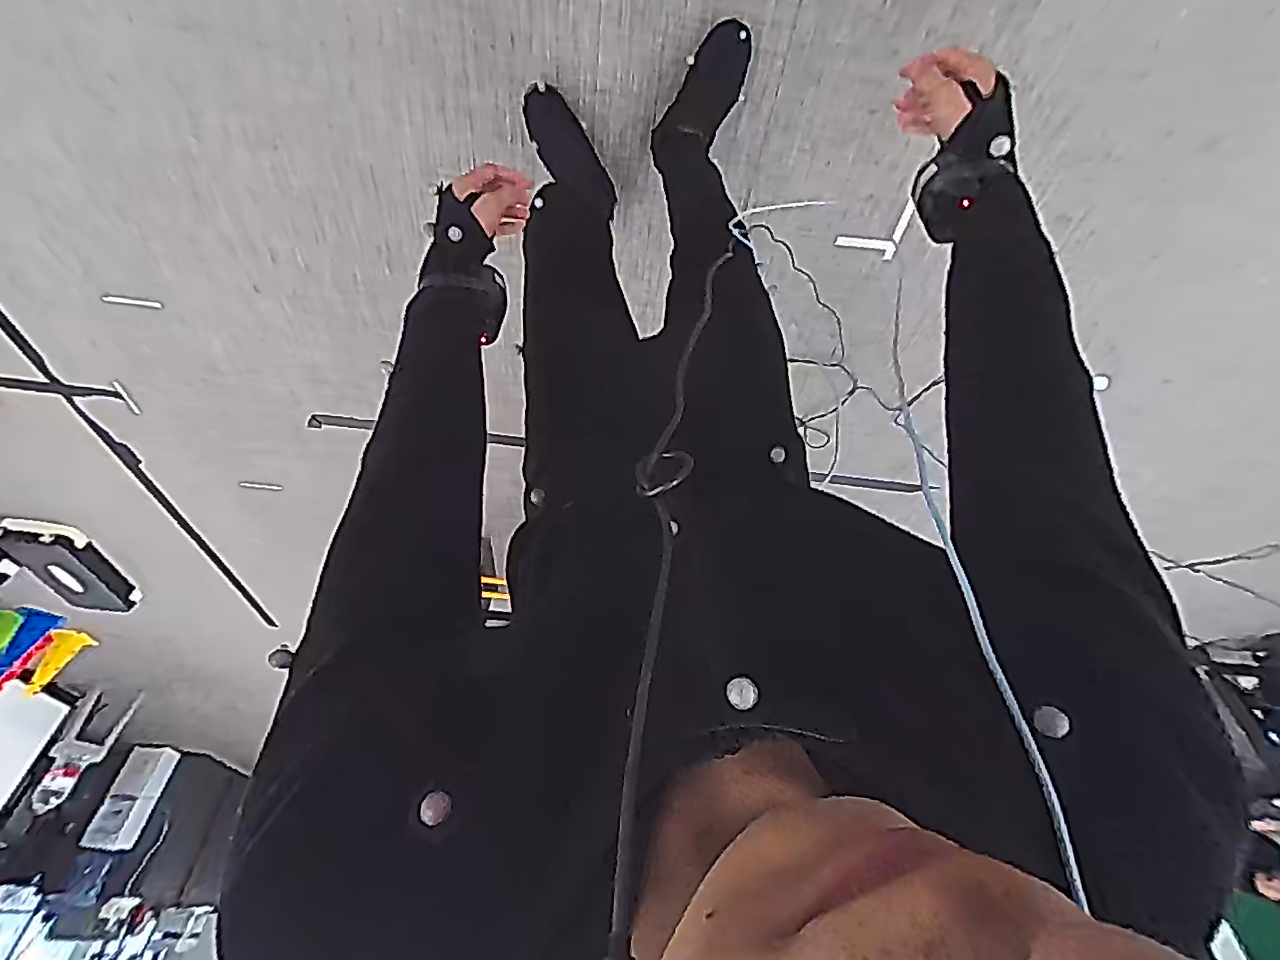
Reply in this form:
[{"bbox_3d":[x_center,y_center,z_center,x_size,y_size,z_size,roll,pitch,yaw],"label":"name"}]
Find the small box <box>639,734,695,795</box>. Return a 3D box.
[{"bbox_3d":[0.098,1.065,2.029,0.179,0.176,0.168,7,139,-7],"label":"small box"}]
